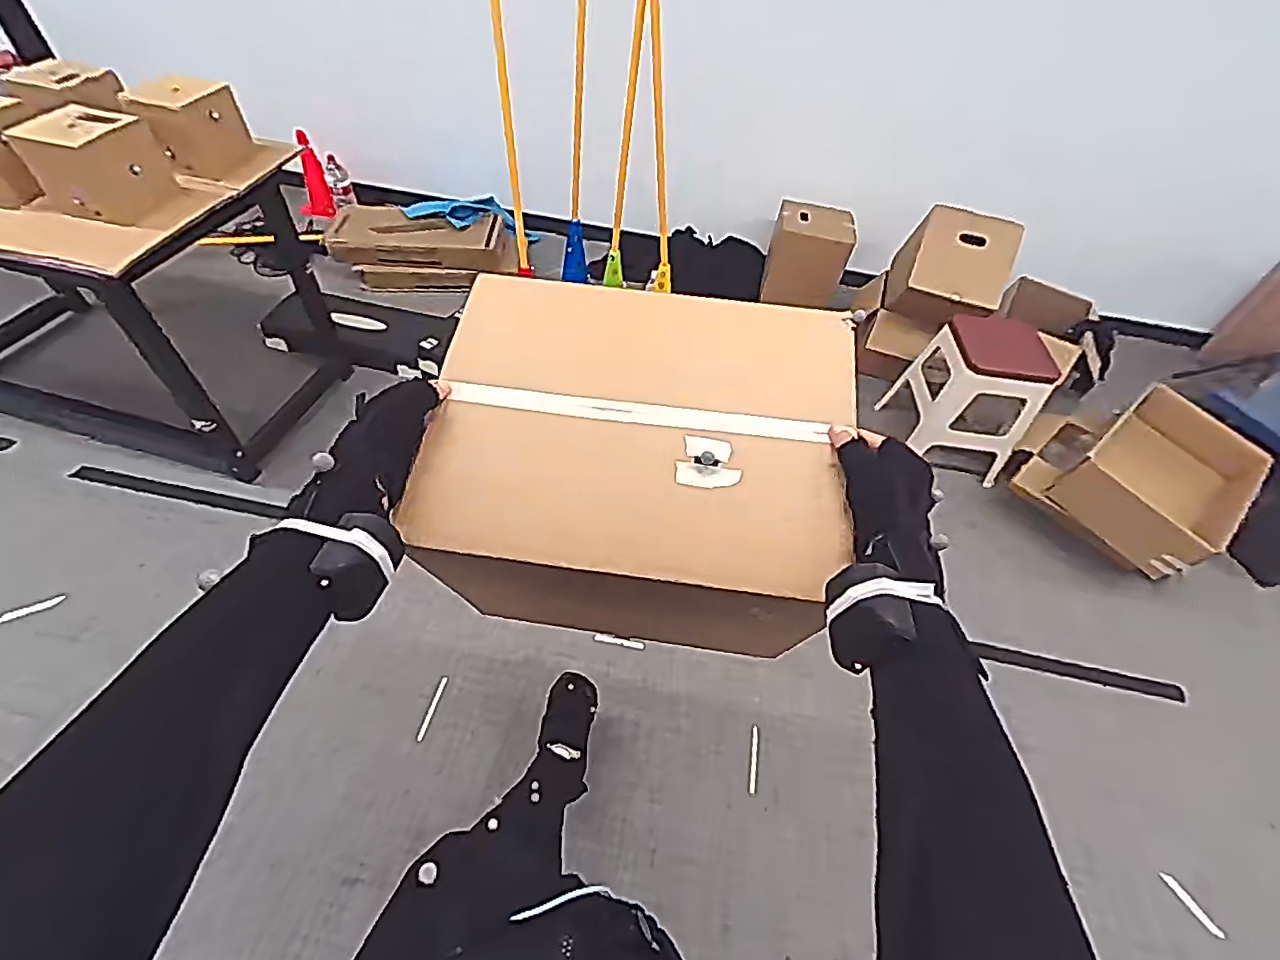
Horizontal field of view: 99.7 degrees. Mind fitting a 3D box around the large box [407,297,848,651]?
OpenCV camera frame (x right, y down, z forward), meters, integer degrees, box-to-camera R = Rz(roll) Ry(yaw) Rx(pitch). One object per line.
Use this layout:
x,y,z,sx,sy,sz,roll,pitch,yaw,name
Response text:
-0.001,0.012,0.675,0.408,0.320,0.320,7,65,3,large box
